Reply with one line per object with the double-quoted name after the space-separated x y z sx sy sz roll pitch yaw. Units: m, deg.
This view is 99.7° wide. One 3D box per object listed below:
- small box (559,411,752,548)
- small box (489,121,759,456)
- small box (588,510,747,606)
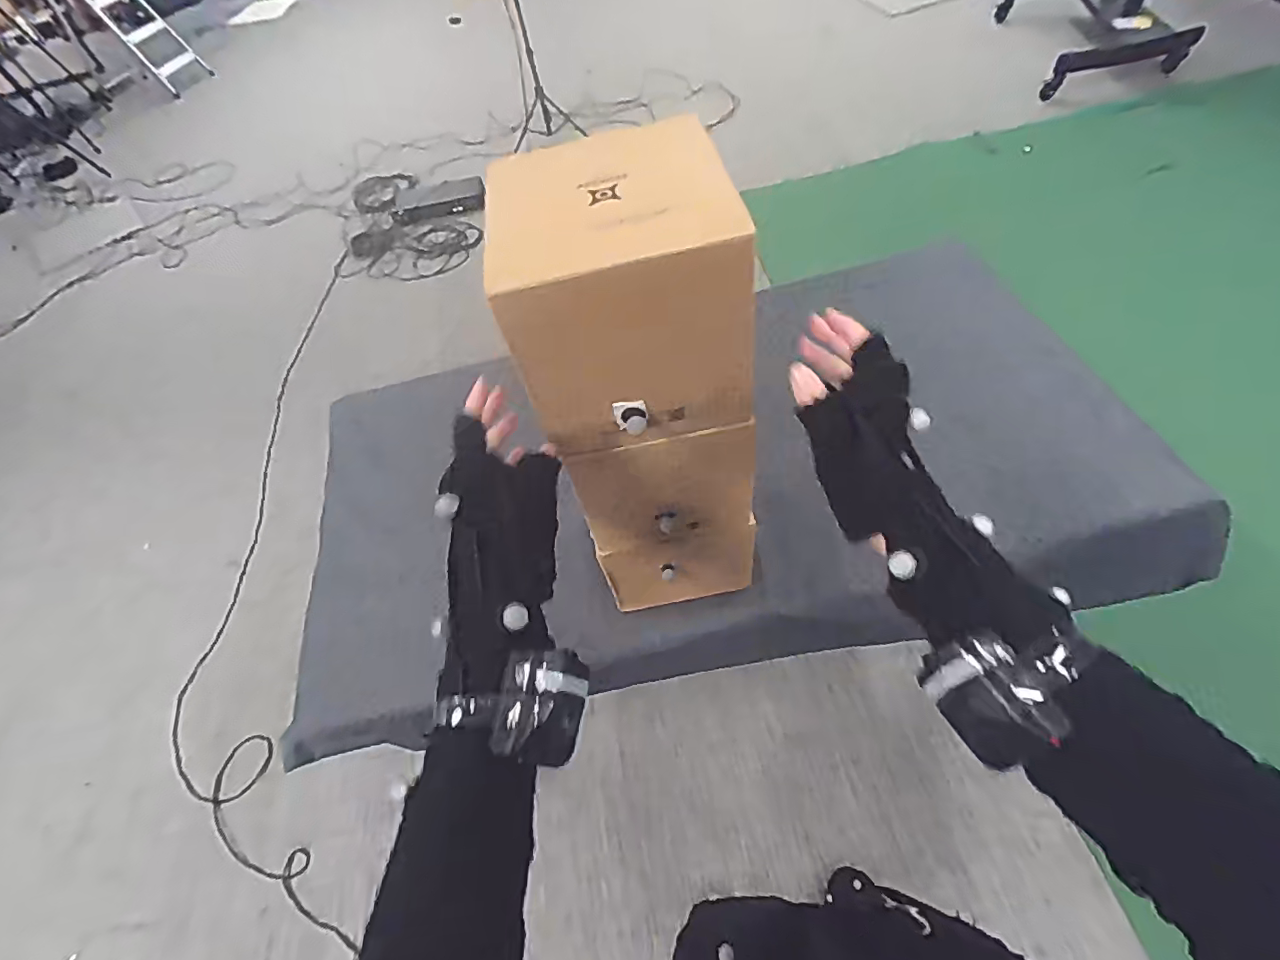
0.013 -0.053 0.562 0.168 0.176 0.179 -10 55 2 "small box"
-0.011 -0.146 0.433 0.168 0.176 0.179 -12 55 2 "small box"
0.033 0.047 0.692 0.179 0.176 0.168 -11 54 2 "small box"
